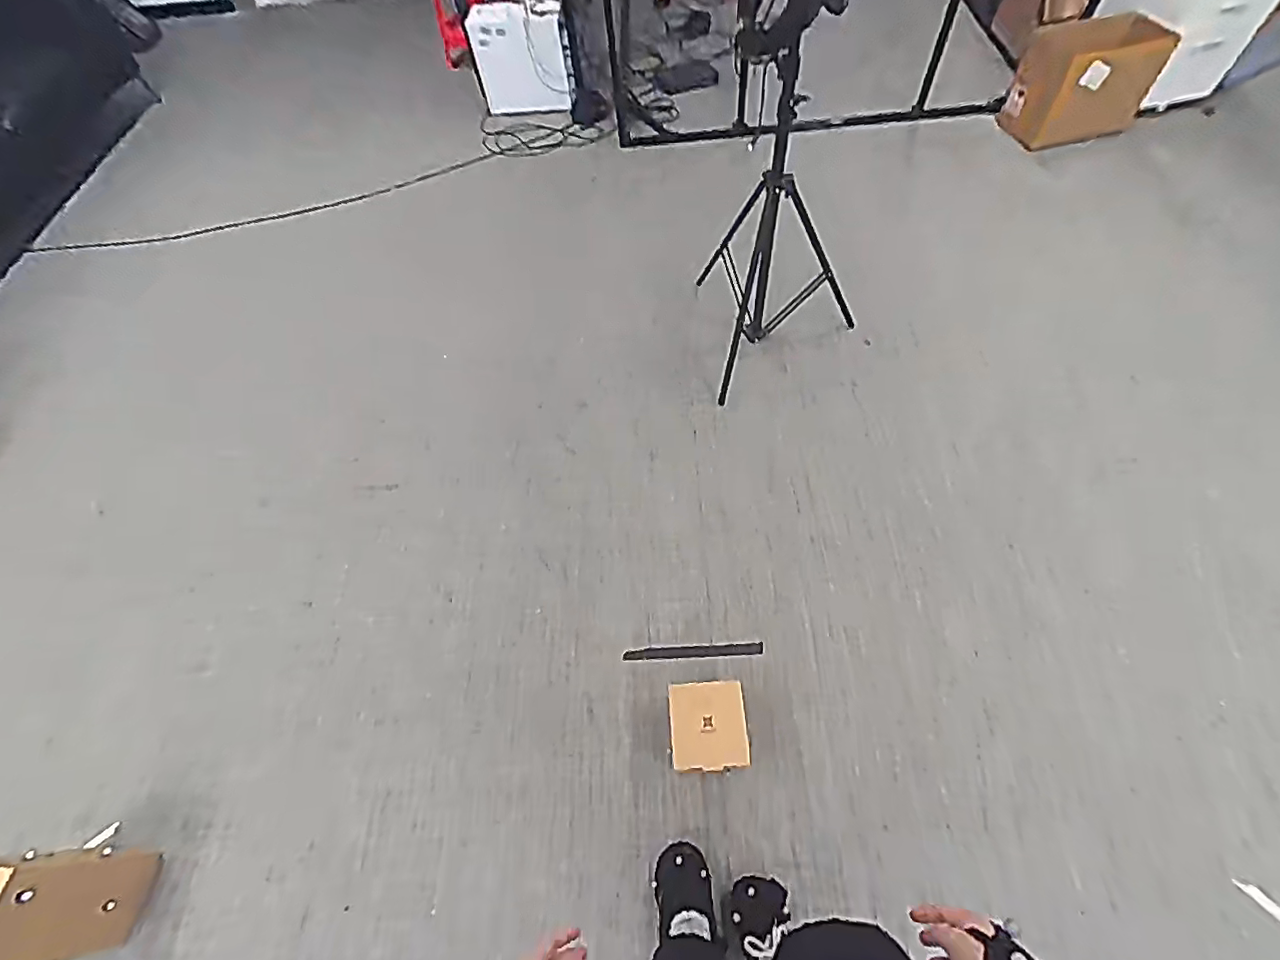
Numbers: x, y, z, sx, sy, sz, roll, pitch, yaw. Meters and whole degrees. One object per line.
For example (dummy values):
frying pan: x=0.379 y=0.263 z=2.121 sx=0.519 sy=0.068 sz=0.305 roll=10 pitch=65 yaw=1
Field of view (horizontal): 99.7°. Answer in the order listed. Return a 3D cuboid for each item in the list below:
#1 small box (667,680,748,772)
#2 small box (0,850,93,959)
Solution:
small box: x=0.152 y=0.575 z=1.252 sx=0.168 sy=0.176 sz=0.179 roll=-5 pitch=58 yaw=2
small box: x=-1.233 y=0.829 z=1.042 sx=0.168 sy=0.176 sz=0.179 roll=0 pitch=60 yaw=7
